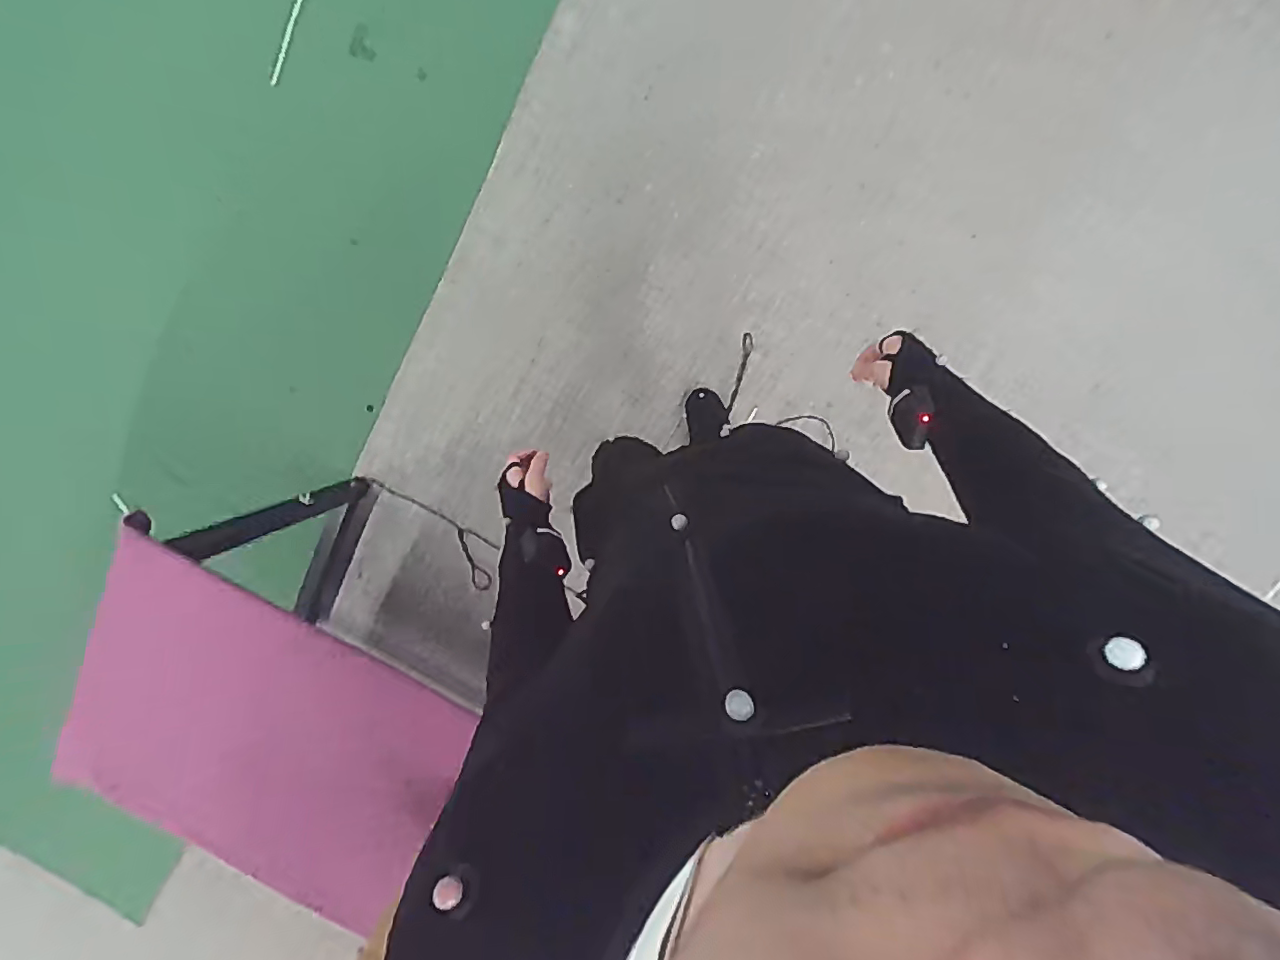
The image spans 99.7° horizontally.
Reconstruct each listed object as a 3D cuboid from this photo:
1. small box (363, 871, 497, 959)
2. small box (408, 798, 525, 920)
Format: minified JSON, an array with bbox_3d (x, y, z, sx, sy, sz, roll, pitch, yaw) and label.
[{"bbox_3d":[-0.336,0.750,0.818,0.168,0.176,0.179,25,103,1],"label":"small box"},{"bbox_3d":[-0.328,0.733,0.983,0.168,0.176,0.179,24,103,0],"label":"small box"}]
